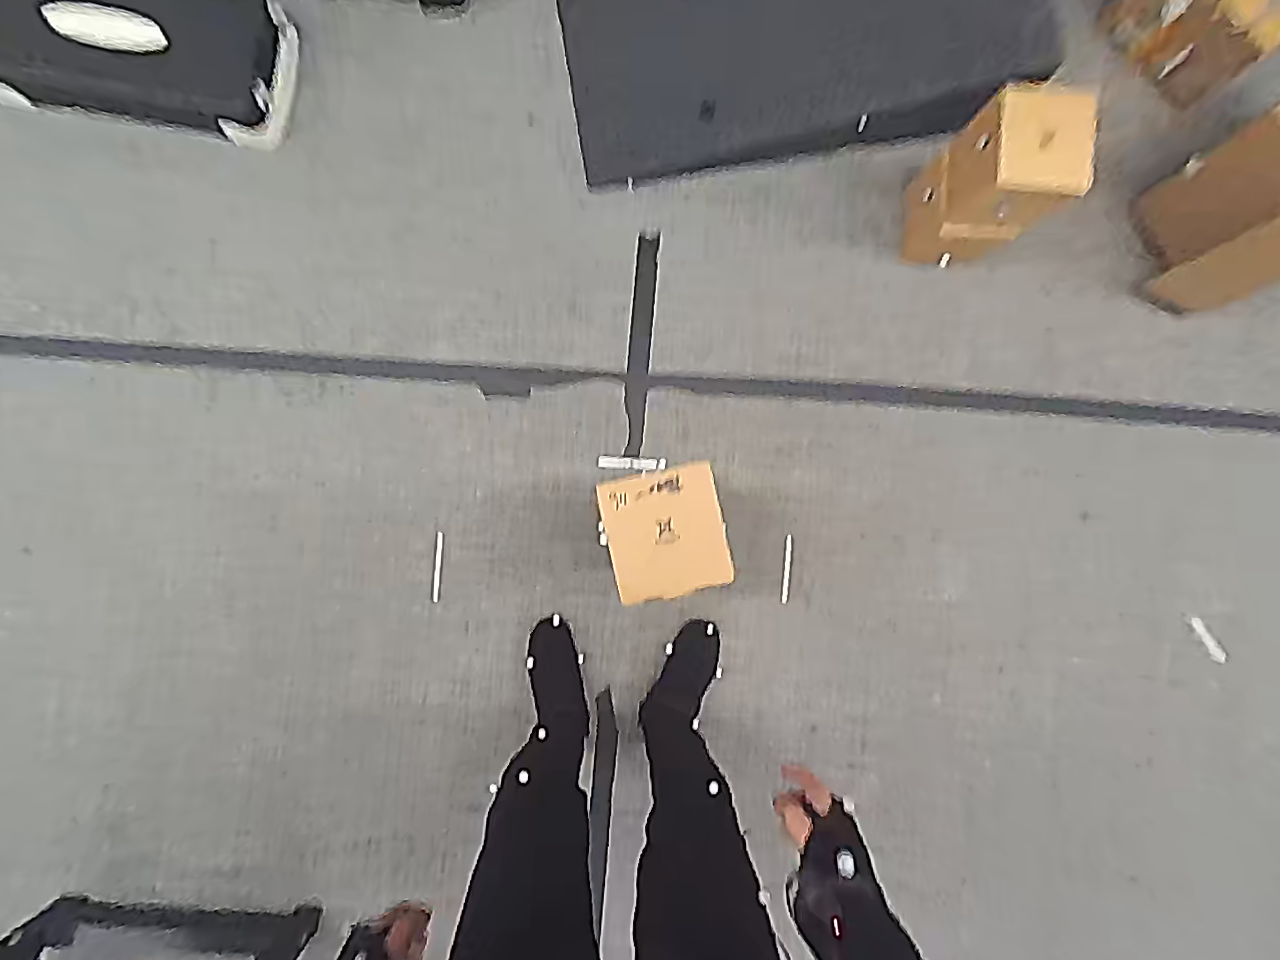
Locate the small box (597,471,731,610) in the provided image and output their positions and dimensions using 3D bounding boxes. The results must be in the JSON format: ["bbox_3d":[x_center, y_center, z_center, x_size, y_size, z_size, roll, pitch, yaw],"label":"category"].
[{"bbox_3d":[0.033,0.085,0.846,0.168,0.176,0.179,-12,90,-2],"label":"small box"}]
